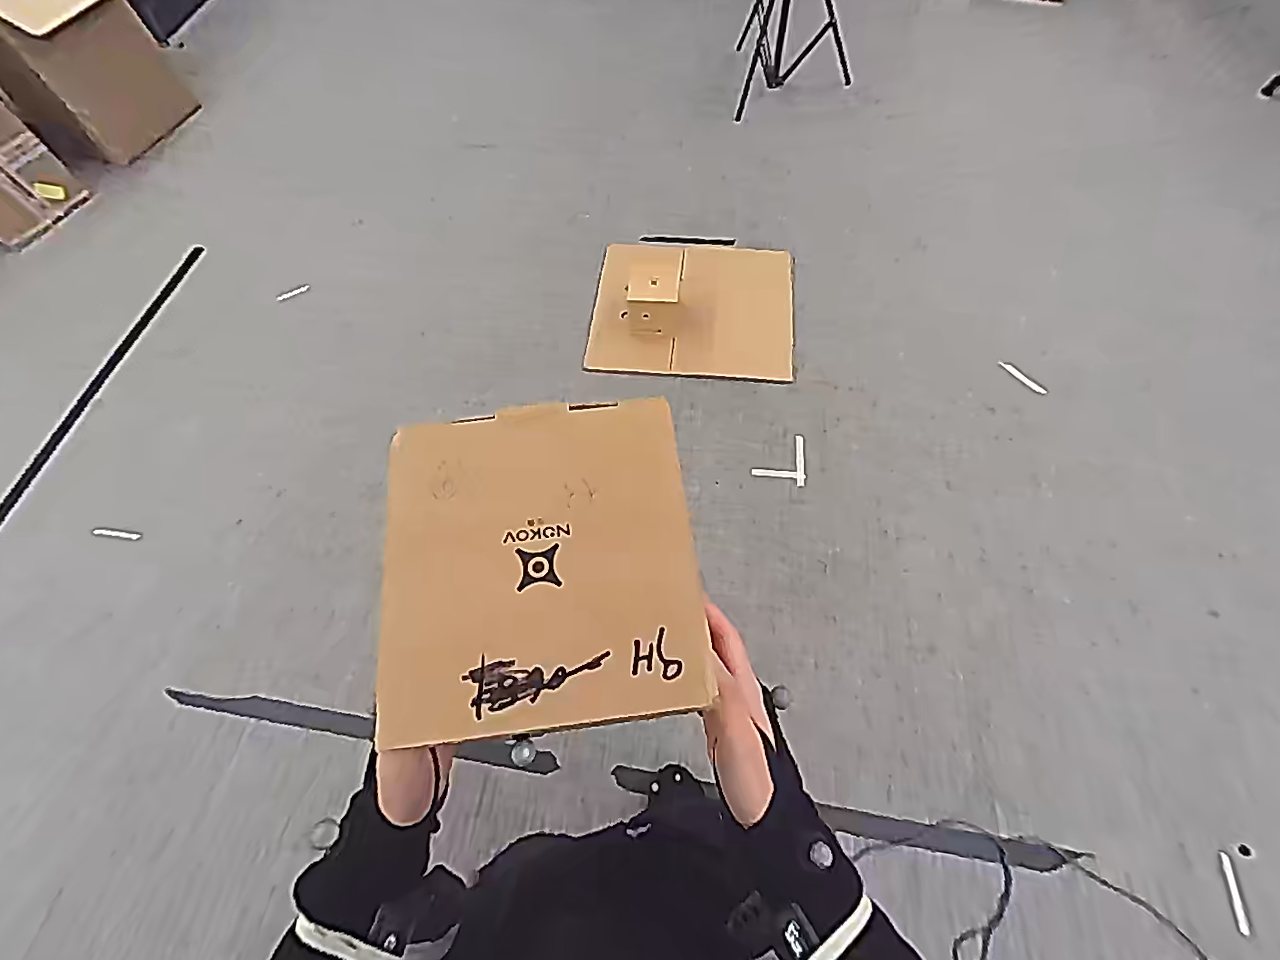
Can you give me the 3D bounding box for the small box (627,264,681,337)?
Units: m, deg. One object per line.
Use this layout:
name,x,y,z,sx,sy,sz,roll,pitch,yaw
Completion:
small box,0.052,-0.605,1.830,0.168,0.176,0.179,3,63,5

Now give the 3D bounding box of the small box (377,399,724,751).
small box,-0.048,0.072,0.359,0.168,0.176,0.179,-8,66,-1
